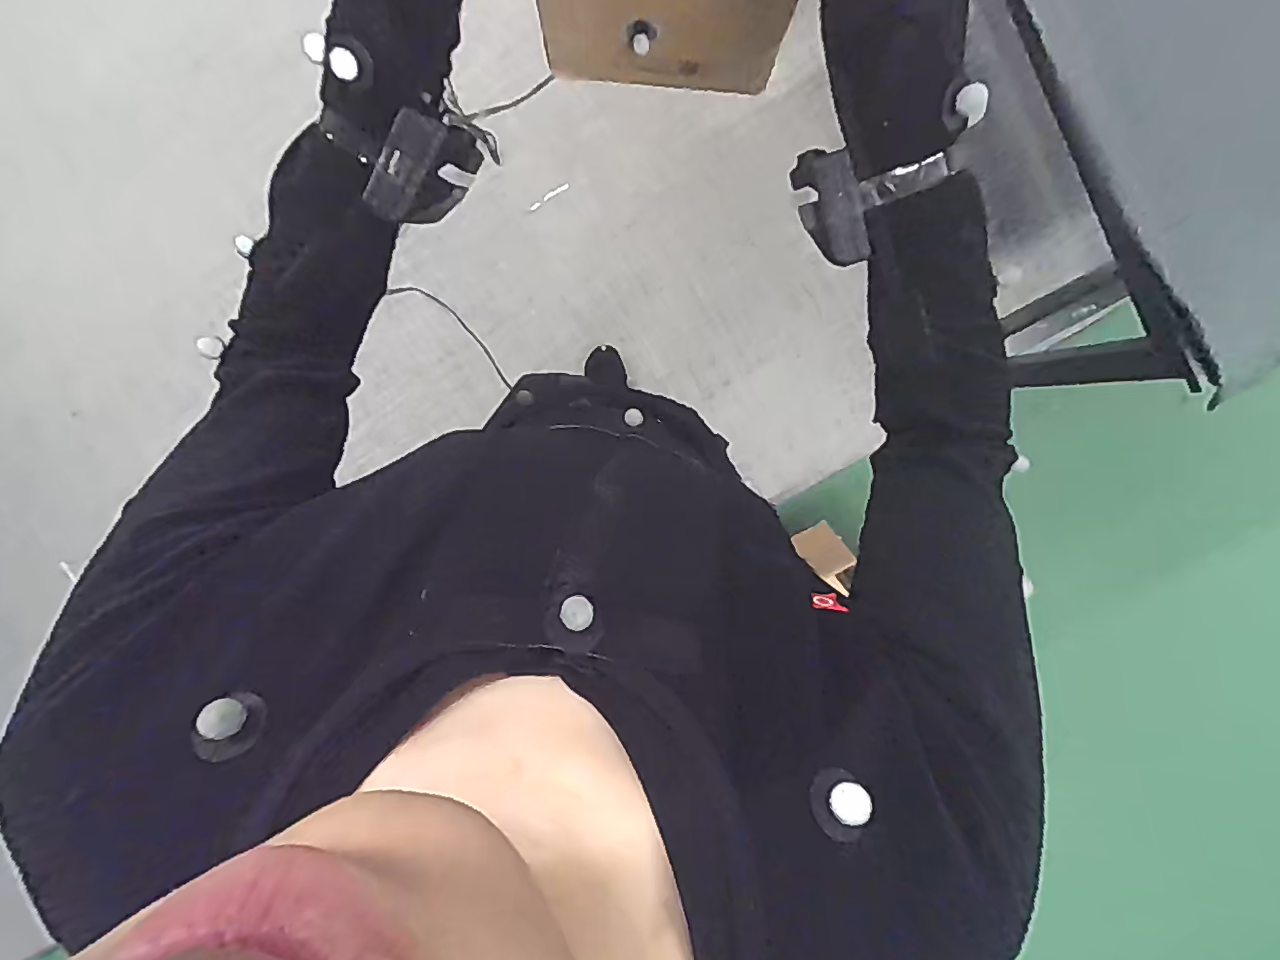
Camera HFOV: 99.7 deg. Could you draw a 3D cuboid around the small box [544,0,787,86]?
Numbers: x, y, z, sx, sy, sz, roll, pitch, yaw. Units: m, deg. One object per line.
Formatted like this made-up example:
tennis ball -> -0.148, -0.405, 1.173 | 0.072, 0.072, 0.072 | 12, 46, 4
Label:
small box -> 0.019, -0.393, 0.333 | 0.168, 0.176, 0.179 | 4, 96, -1
